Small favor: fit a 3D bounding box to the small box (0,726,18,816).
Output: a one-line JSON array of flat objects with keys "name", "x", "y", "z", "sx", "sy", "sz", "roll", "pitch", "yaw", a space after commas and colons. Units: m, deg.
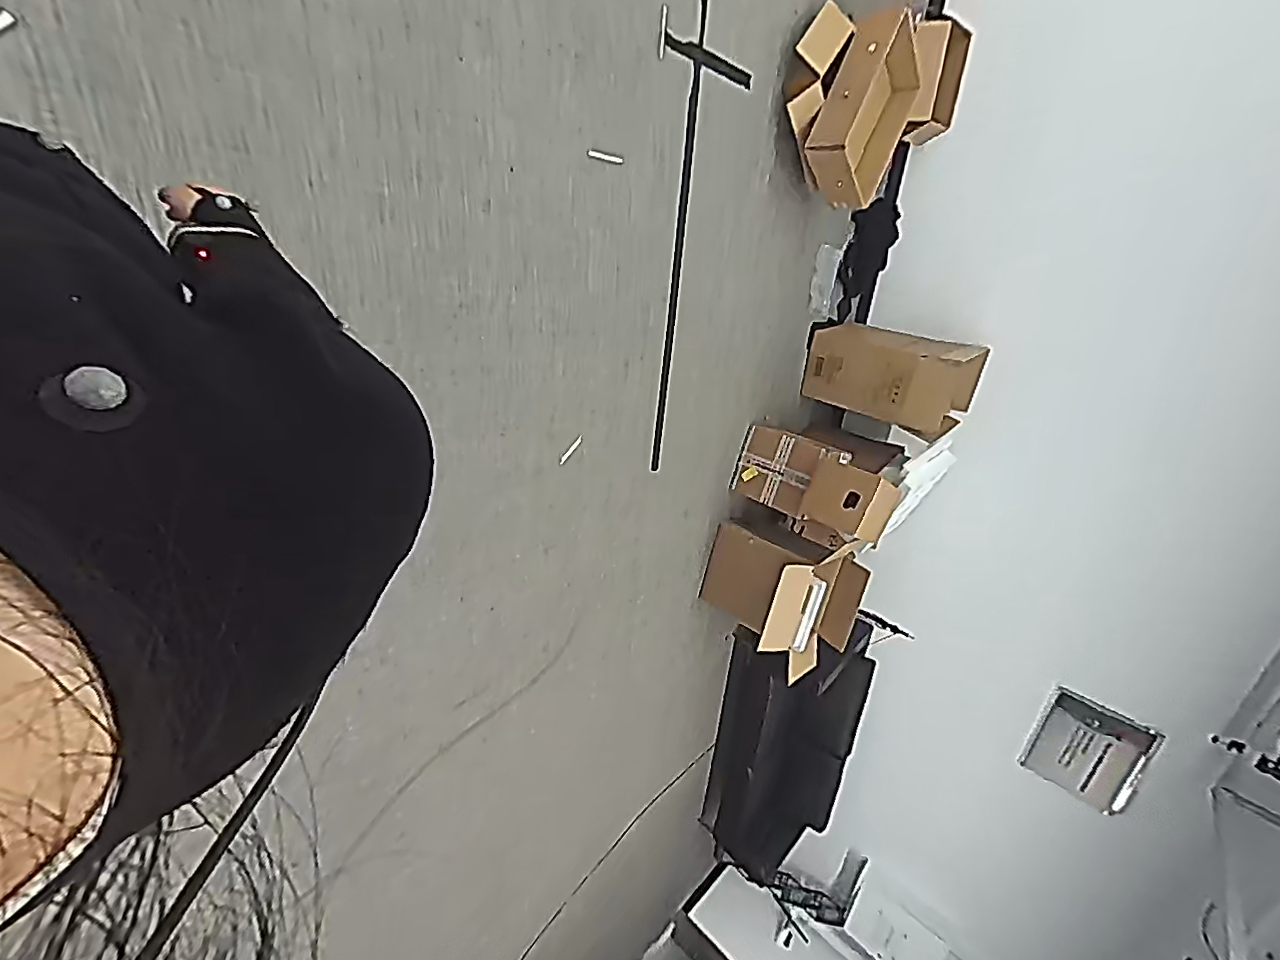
[{"name": "small box", "x": -1.360, "y": 0.576, "z": 1.050, "sx": 0.168, "sy": 0.176, "sz": 0.179, "roll": -20, "pitch": 125, "yaw": -43}]
